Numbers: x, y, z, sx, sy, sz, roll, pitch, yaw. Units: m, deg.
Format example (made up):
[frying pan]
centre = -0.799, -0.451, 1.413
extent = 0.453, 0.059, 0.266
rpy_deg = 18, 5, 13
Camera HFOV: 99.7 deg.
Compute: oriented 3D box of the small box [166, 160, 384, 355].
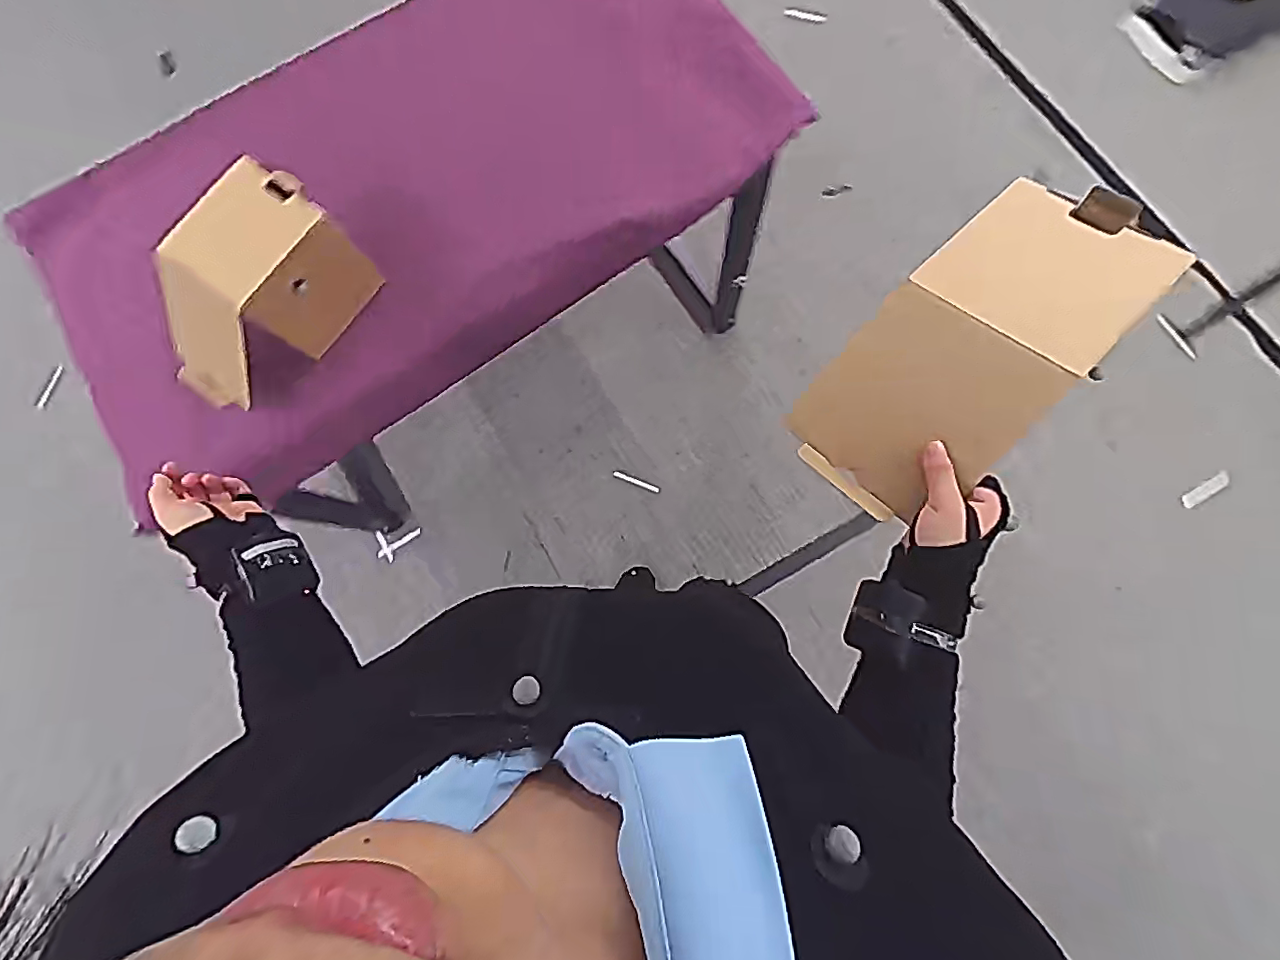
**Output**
[small box]
centre = -0.531, -0.321, 0.815
extent = 0.168, 0.176, 0.179
rpy_deg = 36, 82, 9
